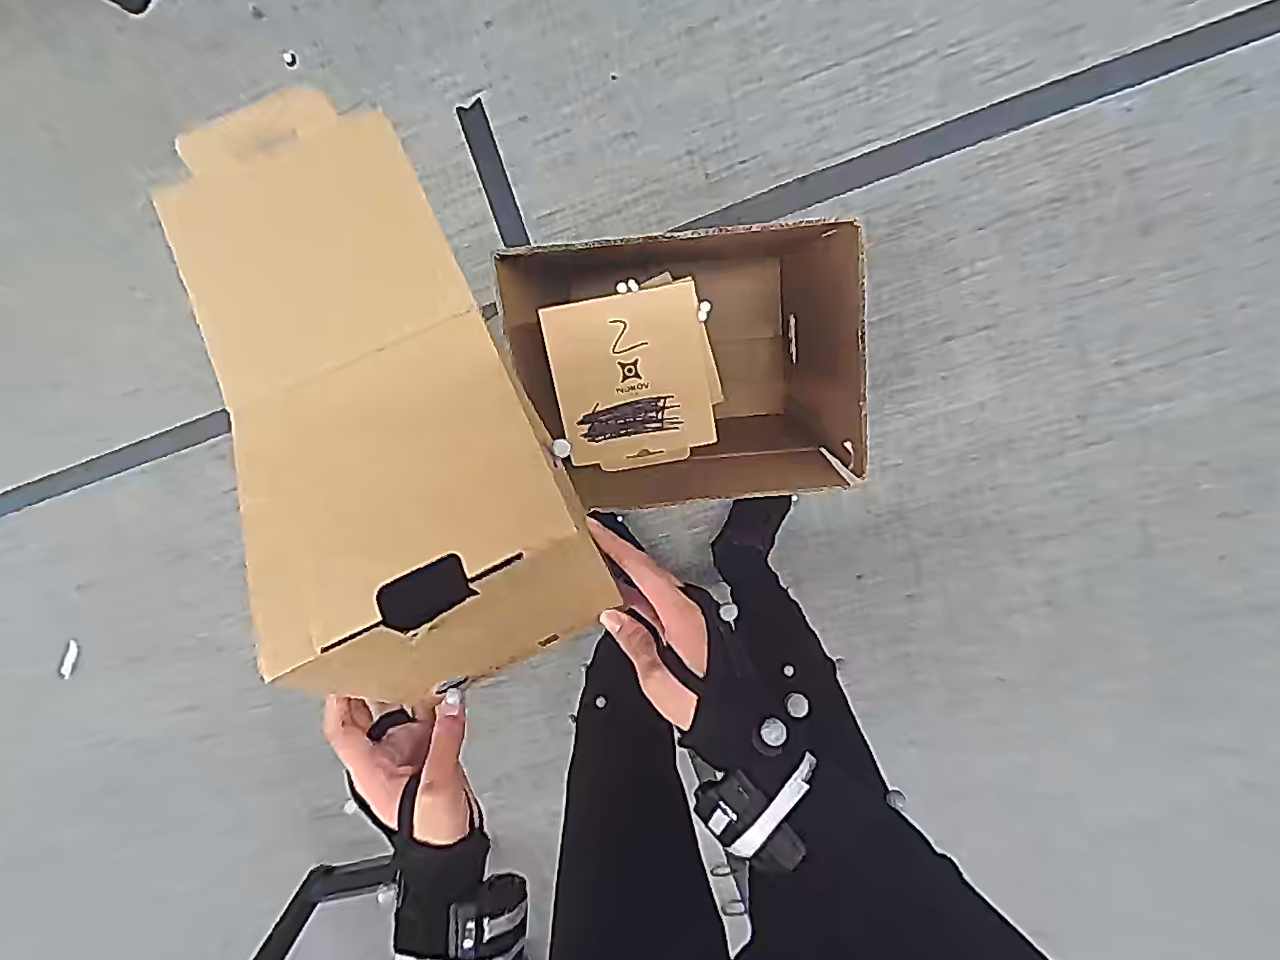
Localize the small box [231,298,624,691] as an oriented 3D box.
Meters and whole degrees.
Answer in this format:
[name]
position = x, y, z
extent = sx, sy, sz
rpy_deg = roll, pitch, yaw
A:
[small box]
position = -0.123, 0.024, 0.358
extent = 0.168, 0.176, 0.179
rpy_deg = -25, 62, -5
